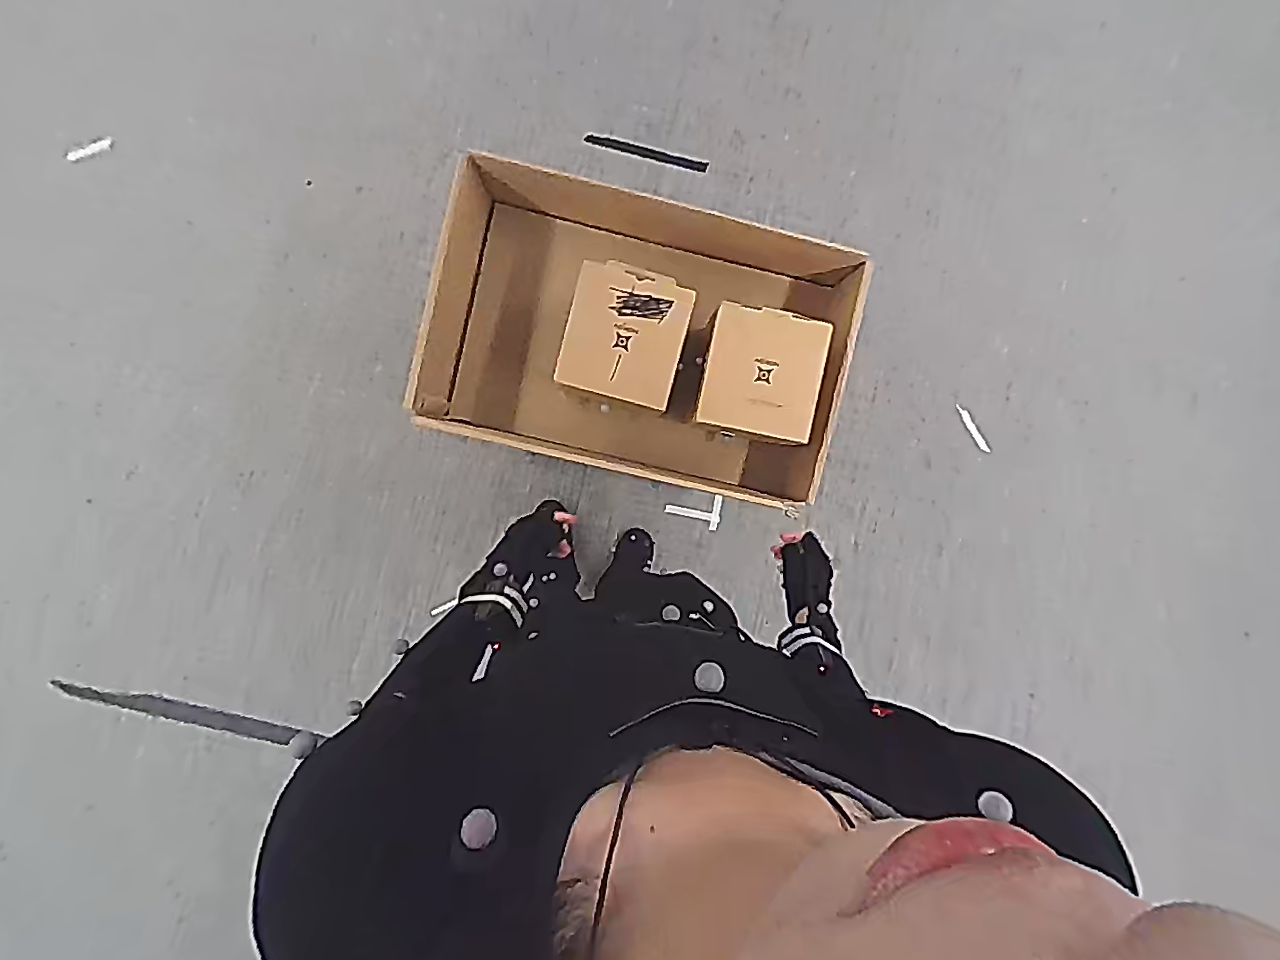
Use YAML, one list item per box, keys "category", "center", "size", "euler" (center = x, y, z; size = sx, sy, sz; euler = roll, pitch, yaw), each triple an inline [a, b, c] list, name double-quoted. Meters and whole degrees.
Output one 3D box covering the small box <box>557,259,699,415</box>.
- category: "small box"
  center: [-0.020, -0.207, 0.833]
  size: [0.168, 0.176, 0.179]
  euler: [15, 93, -3]
